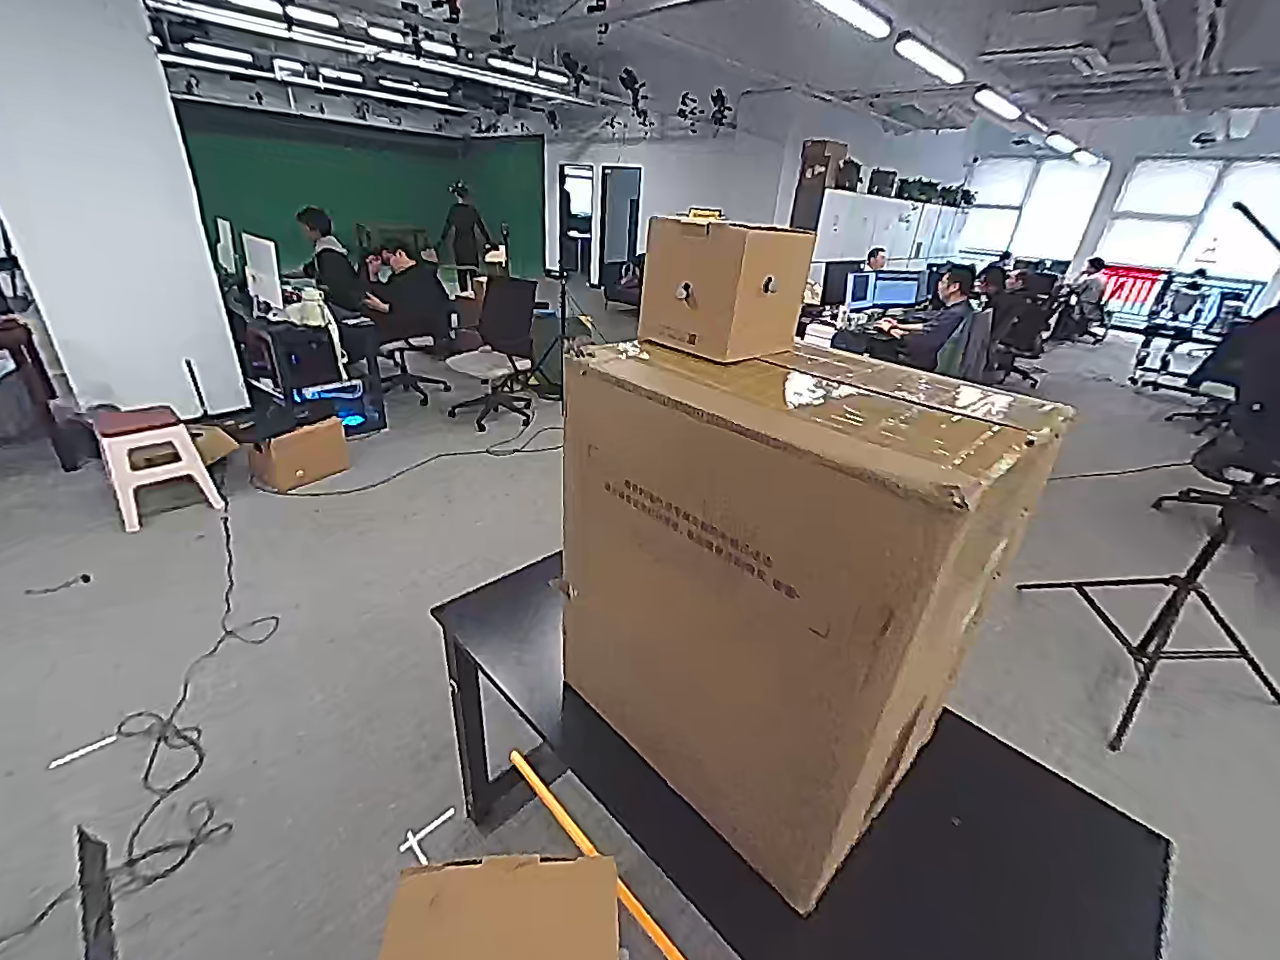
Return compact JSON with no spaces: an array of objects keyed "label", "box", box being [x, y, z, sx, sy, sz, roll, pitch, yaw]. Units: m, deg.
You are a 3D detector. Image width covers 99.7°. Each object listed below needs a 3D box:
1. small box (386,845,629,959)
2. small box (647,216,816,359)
[{"label":"small box","box":[-0.097,0.401,0.395,0.168,0.176,0.179,2,35,-7]},{"label":"small box","box":[0.124,-0.277,0.775,0.168,0.176,0.179,28,34,36]}]
